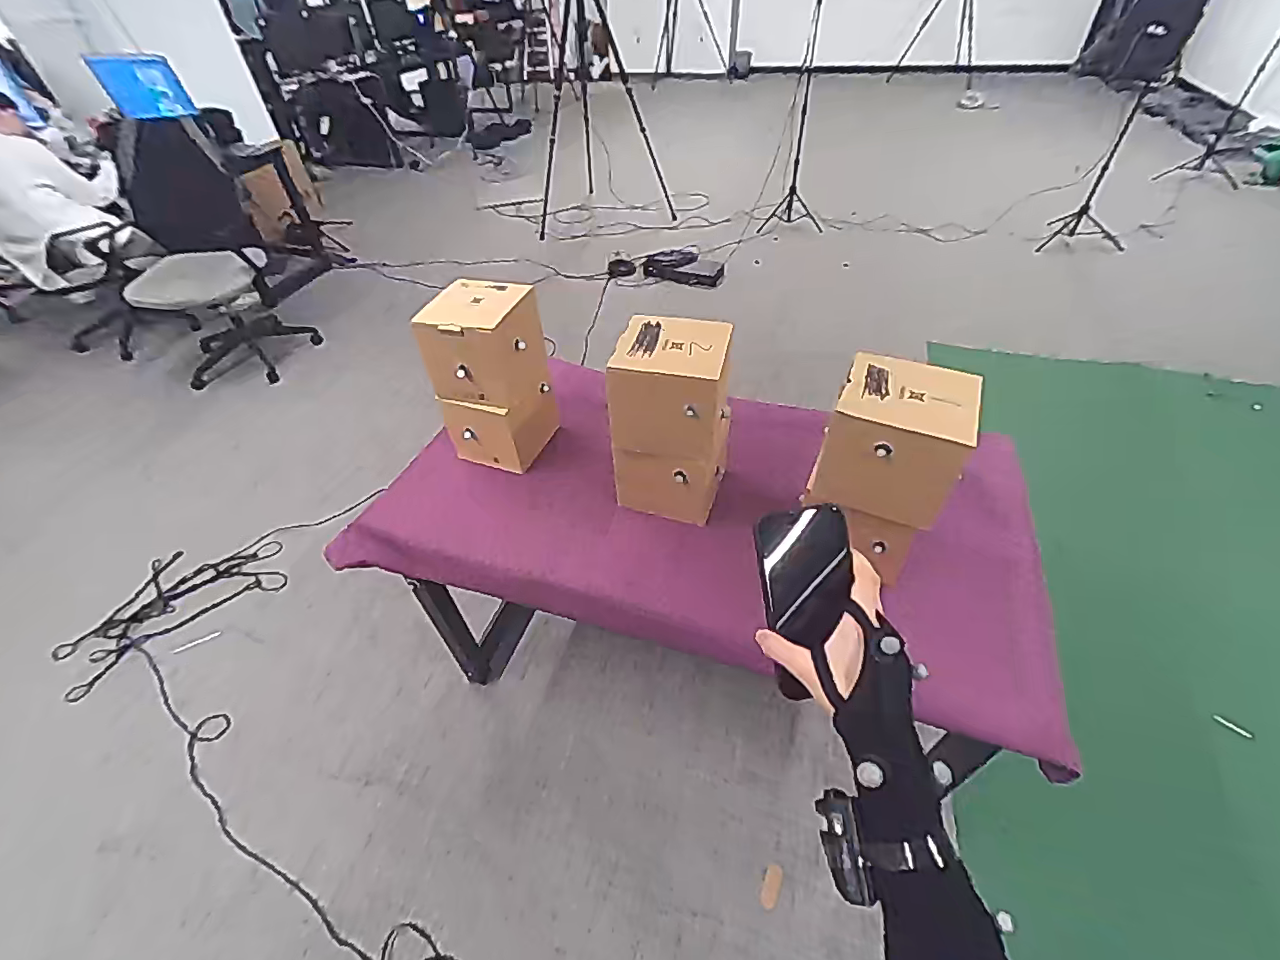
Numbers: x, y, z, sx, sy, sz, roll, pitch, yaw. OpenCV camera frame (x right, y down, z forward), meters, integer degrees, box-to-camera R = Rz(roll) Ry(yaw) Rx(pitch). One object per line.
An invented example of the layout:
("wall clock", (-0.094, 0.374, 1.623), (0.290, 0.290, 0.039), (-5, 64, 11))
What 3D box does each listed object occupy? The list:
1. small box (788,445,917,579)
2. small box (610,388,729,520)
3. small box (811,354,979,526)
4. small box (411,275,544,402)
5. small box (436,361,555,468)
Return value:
("small box", (0.372, 0.044, 0.929), (0.179, 0.176, 0.168), (19, 49, 21))
("small box", (0.060, -0.047, 1.032), (0.179, 0.176, 0.168), (14, 48, 17))
("small box", (0.368, -0.059, 0.800), (0.179, 0.176, 0.168), (19, 49, 20))
("small box", (-0.299, -0.272, 1.045), (0.168, 0.176, 0.179), (11, 48, 13))
("small box", (-0.296, -0.151, 1.156), (0.168, 0.176, 0.179), (15, 48, 17))
